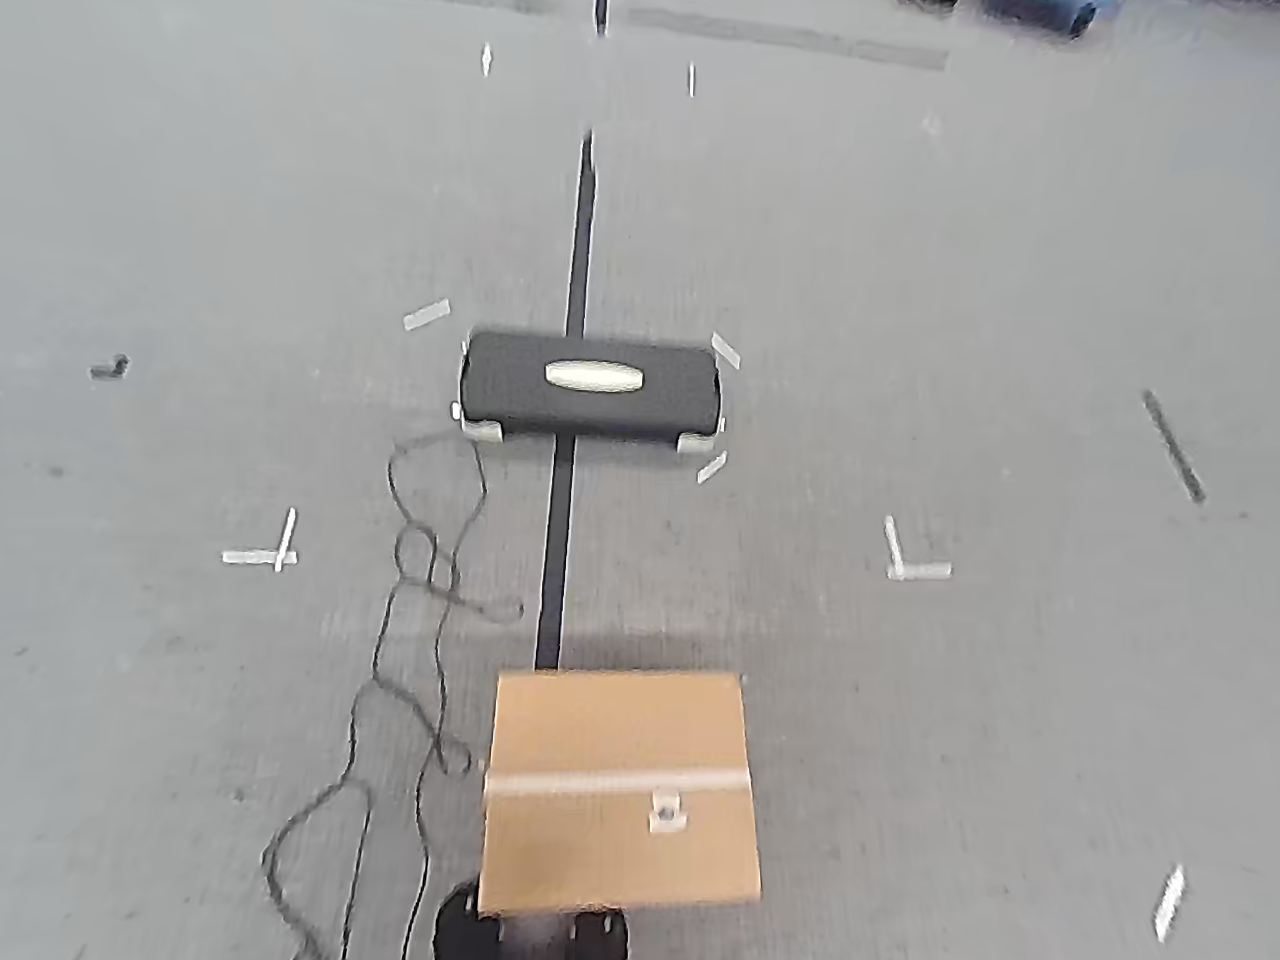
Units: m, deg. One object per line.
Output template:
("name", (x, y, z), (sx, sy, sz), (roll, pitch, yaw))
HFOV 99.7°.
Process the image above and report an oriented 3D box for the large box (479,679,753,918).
("large box", (-0.053, 0.539, 0.967), (0.408, 0.320, 0.320), (3, 64, -8))
